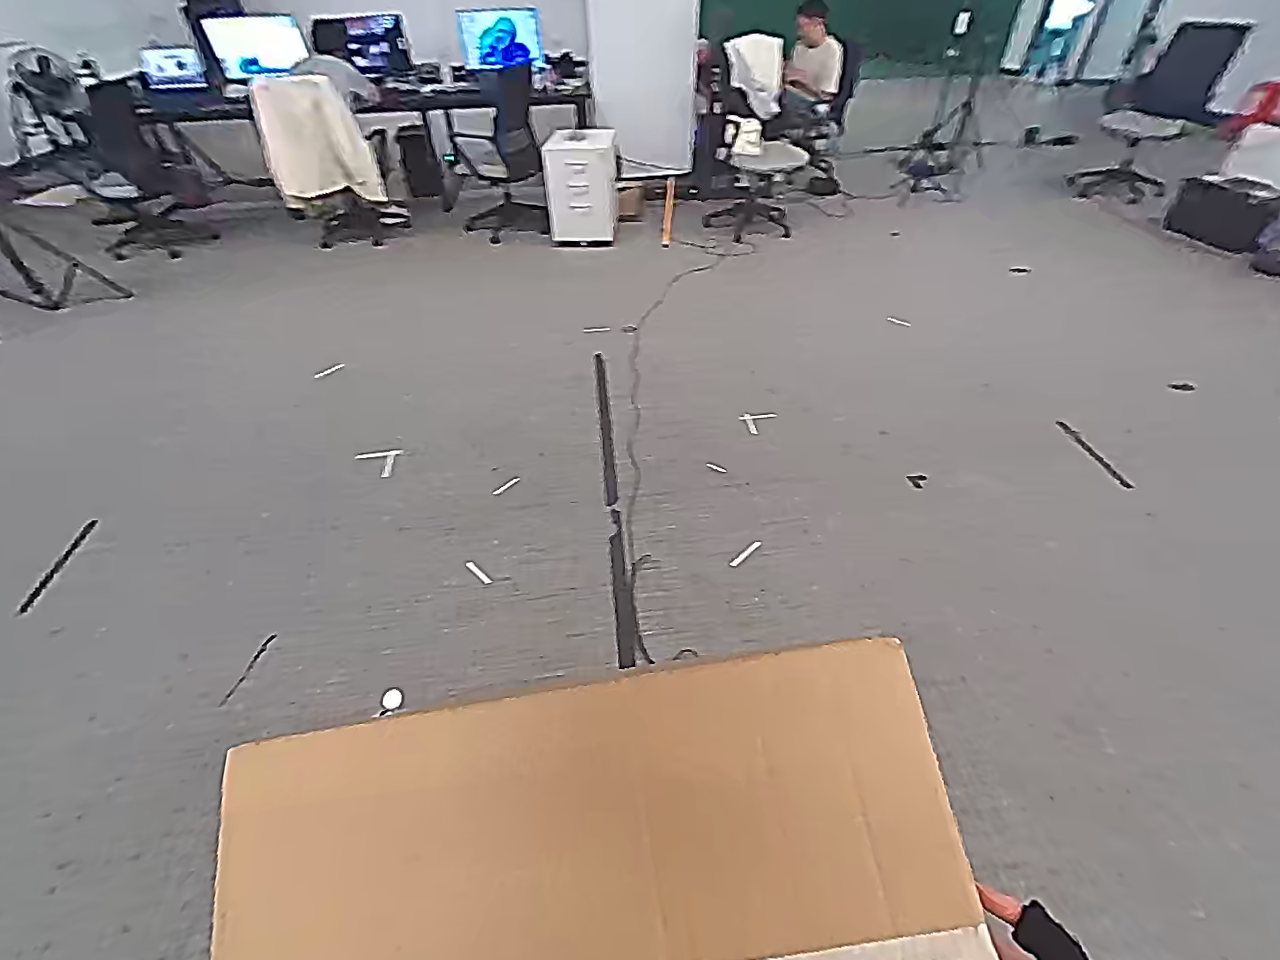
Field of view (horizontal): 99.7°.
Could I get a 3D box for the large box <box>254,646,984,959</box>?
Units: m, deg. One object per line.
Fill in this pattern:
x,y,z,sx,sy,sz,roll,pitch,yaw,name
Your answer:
-0.008,0.324,0.428,0.408,0.320,0.320,-9,73,0,large box
